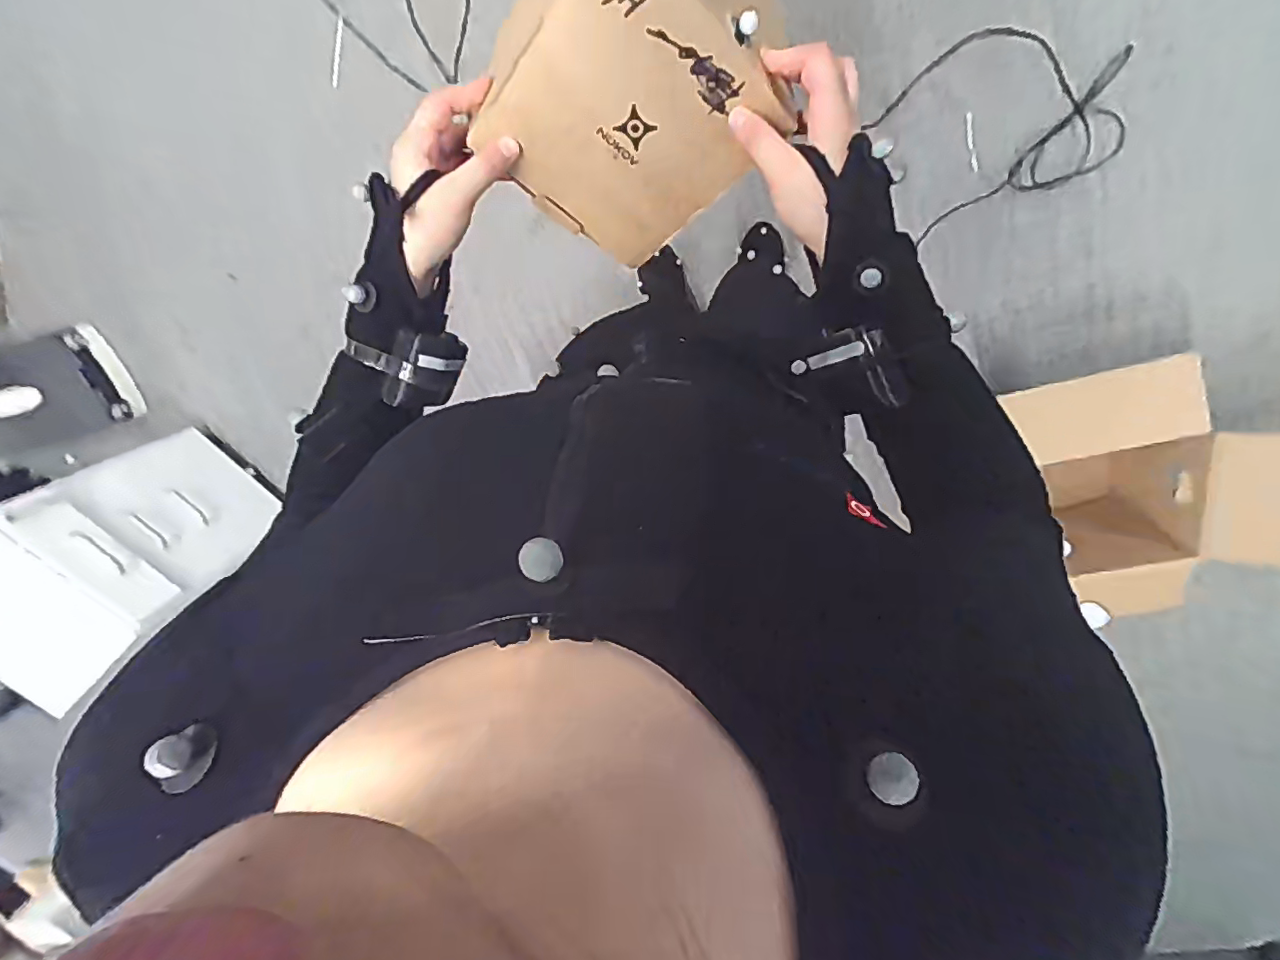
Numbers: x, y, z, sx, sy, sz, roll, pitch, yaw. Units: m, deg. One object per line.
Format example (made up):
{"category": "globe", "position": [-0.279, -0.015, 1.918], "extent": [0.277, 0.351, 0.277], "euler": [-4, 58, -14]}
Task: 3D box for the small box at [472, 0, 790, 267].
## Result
{"category": "small box", "position": [-0.002, -0.316, 0.422], "extent": [0.168, 0.176, 0.179], "euler": [25, 147, -36]}
